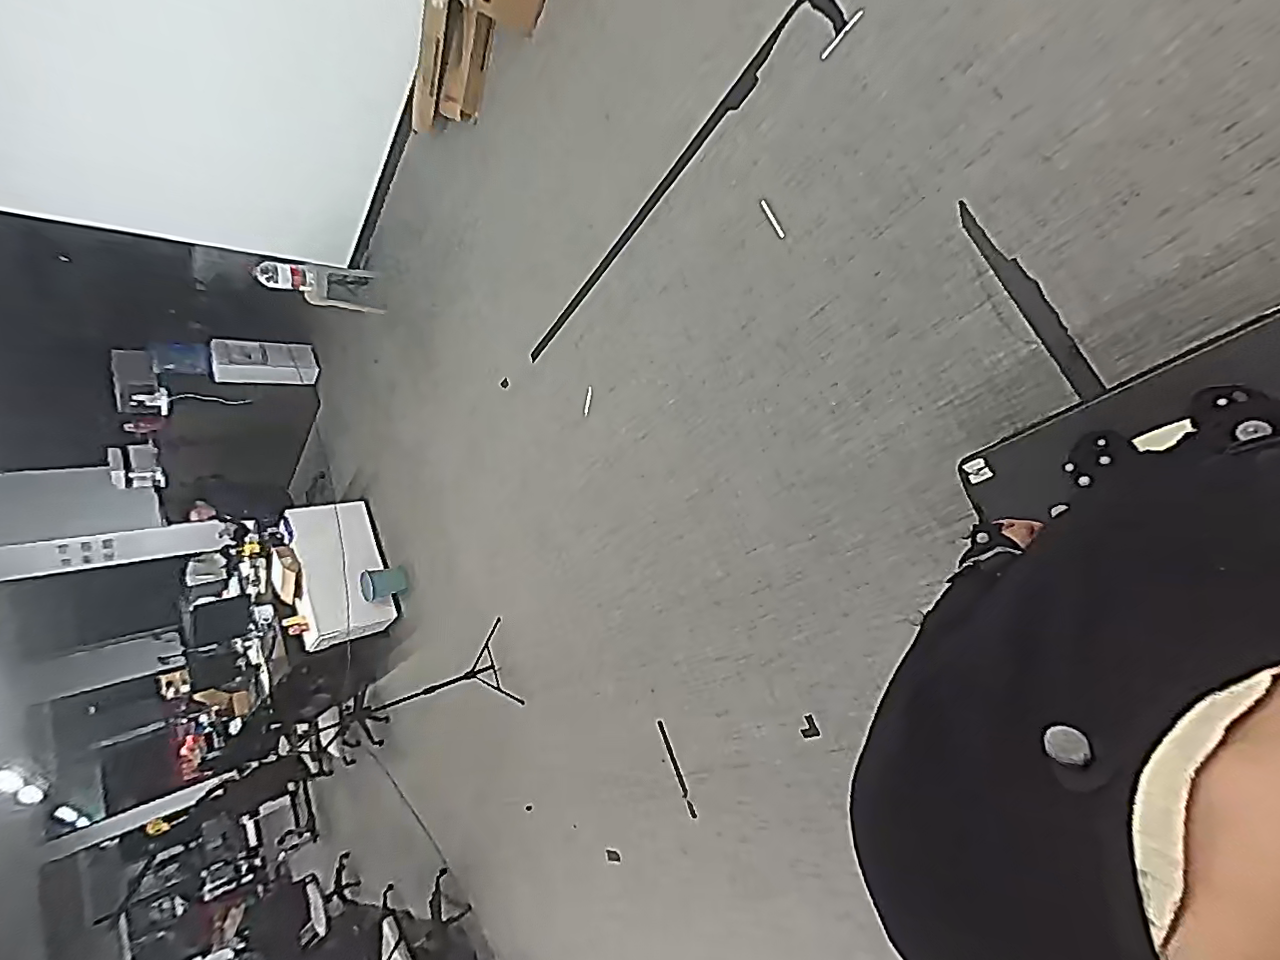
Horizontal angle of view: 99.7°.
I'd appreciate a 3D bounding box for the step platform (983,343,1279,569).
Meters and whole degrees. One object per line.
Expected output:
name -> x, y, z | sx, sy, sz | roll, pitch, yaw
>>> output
step platform -> 1.076, -0.048, 1.053 | 0.684, 0.204, 0.286 | -30, 73, 41
